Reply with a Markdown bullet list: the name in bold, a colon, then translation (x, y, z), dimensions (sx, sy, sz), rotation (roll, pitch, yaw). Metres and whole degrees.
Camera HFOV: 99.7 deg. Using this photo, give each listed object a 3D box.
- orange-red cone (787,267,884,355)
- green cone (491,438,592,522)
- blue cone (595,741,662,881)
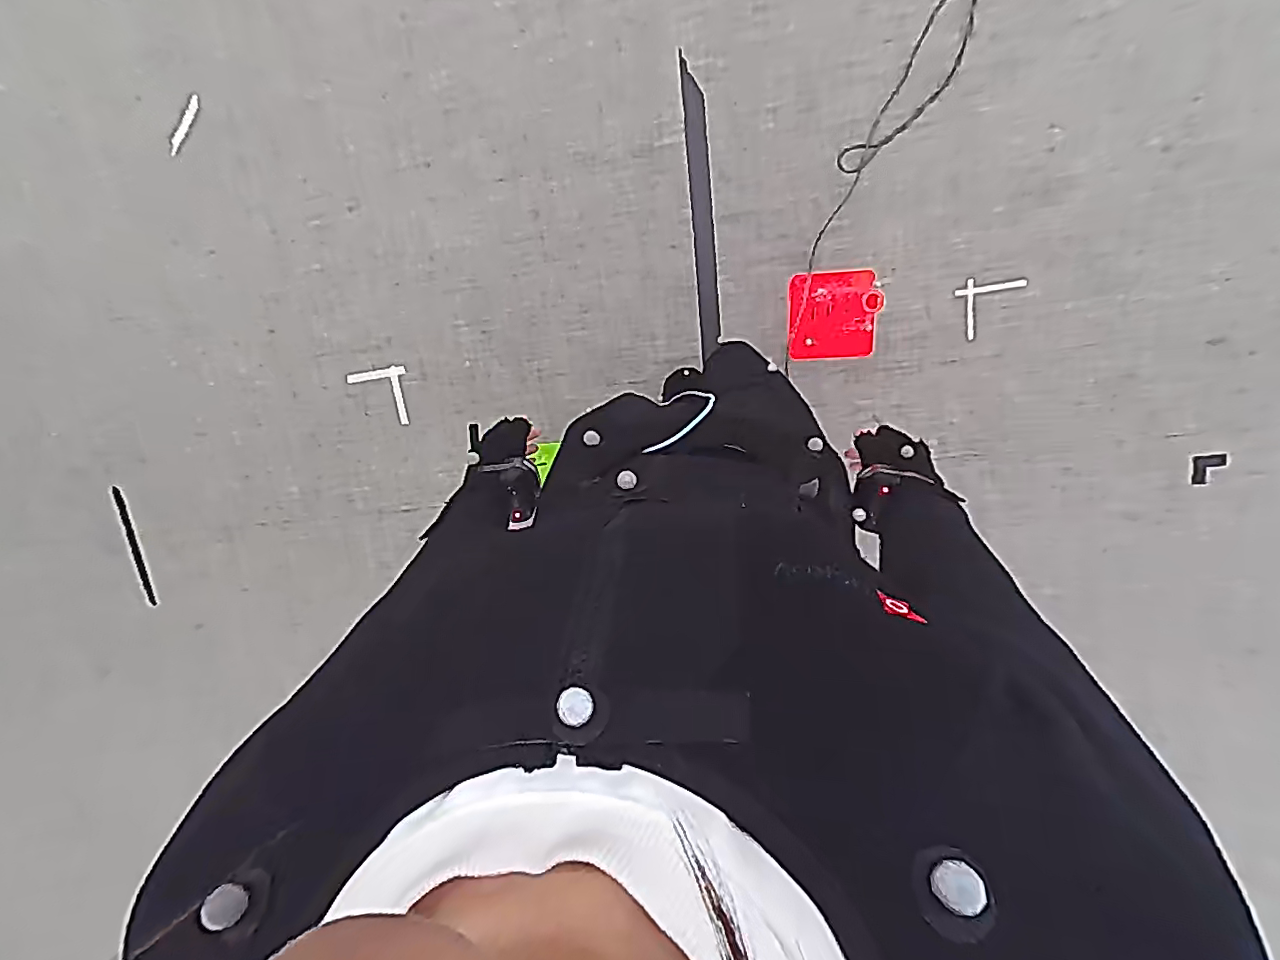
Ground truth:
- **orange-red cone**: translation (0.435, -0.359, 1.121), dimensions (0.199, 0.360, 0.198), rotation (0, 103, 7)
- **green cone**: translation (-0.261, 0.027, 1.294), dimensions (0.202, 0.368, 0.200), rotation (-4, 101, 10)
- **blue cone**: translation (-0.053, 0.905, 1.470), dimensions (0.192, 0.380, 0.193), rotation (0, 102, 9)
